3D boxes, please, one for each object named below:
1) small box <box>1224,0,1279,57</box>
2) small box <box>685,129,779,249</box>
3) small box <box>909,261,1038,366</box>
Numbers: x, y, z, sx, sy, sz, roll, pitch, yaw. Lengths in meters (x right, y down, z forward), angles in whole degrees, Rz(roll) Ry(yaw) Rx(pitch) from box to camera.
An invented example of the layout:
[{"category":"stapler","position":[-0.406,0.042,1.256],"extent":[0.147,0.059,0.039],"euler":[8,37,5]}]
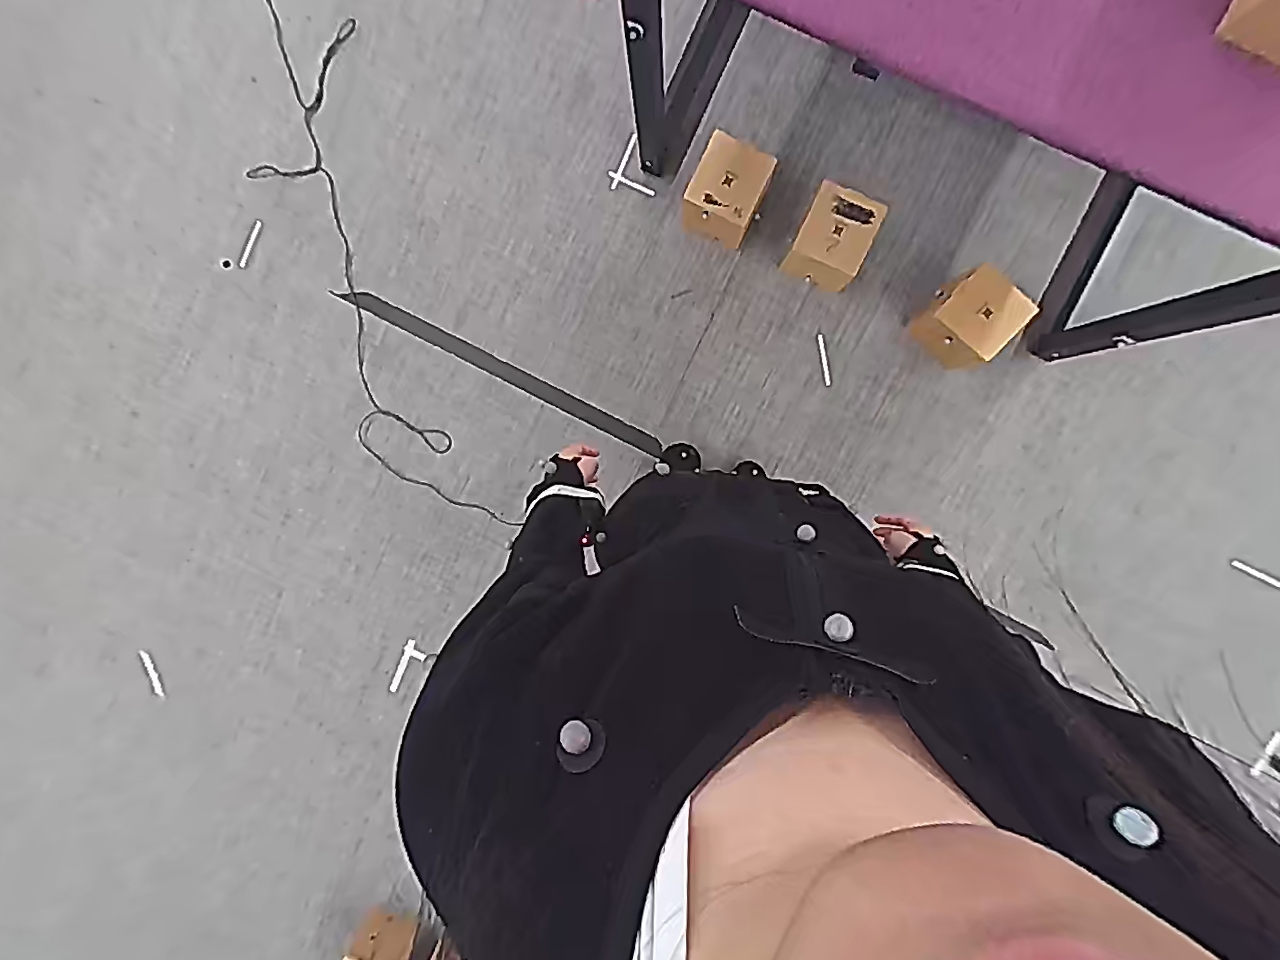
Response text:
[{"category":"small box","position":[0.833,-0.589,0.588],"extent":[0.179,0.176,0.168],"euler":[28,95,1]},{"category":"small box","position":[0.218,-0.717,1.352],"extent":[0.168,0.176,0.179],"euler":[28,94,1]},{"category":"small box","position":[0.813,-0.401,1.339],"extent":[0.179,0.176,0.168],"euler":[43,97,1]}]
